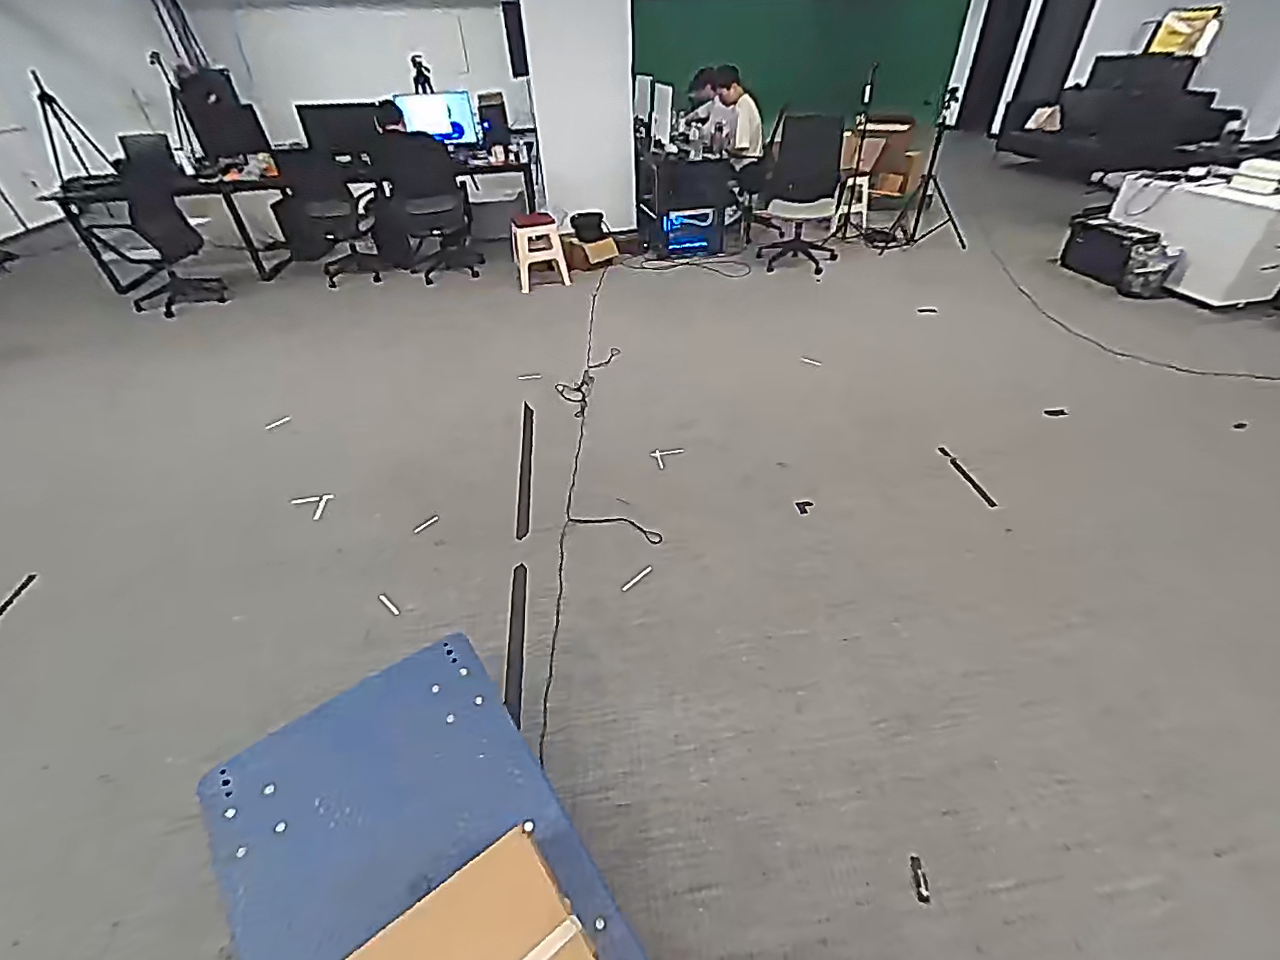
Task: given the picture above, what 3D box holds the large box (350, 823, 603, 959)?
[{"bbox_3d":[-0.266,0.829,0.829,0.408,0.320,0.320,-28,61,-27],"label":"large box"}]
